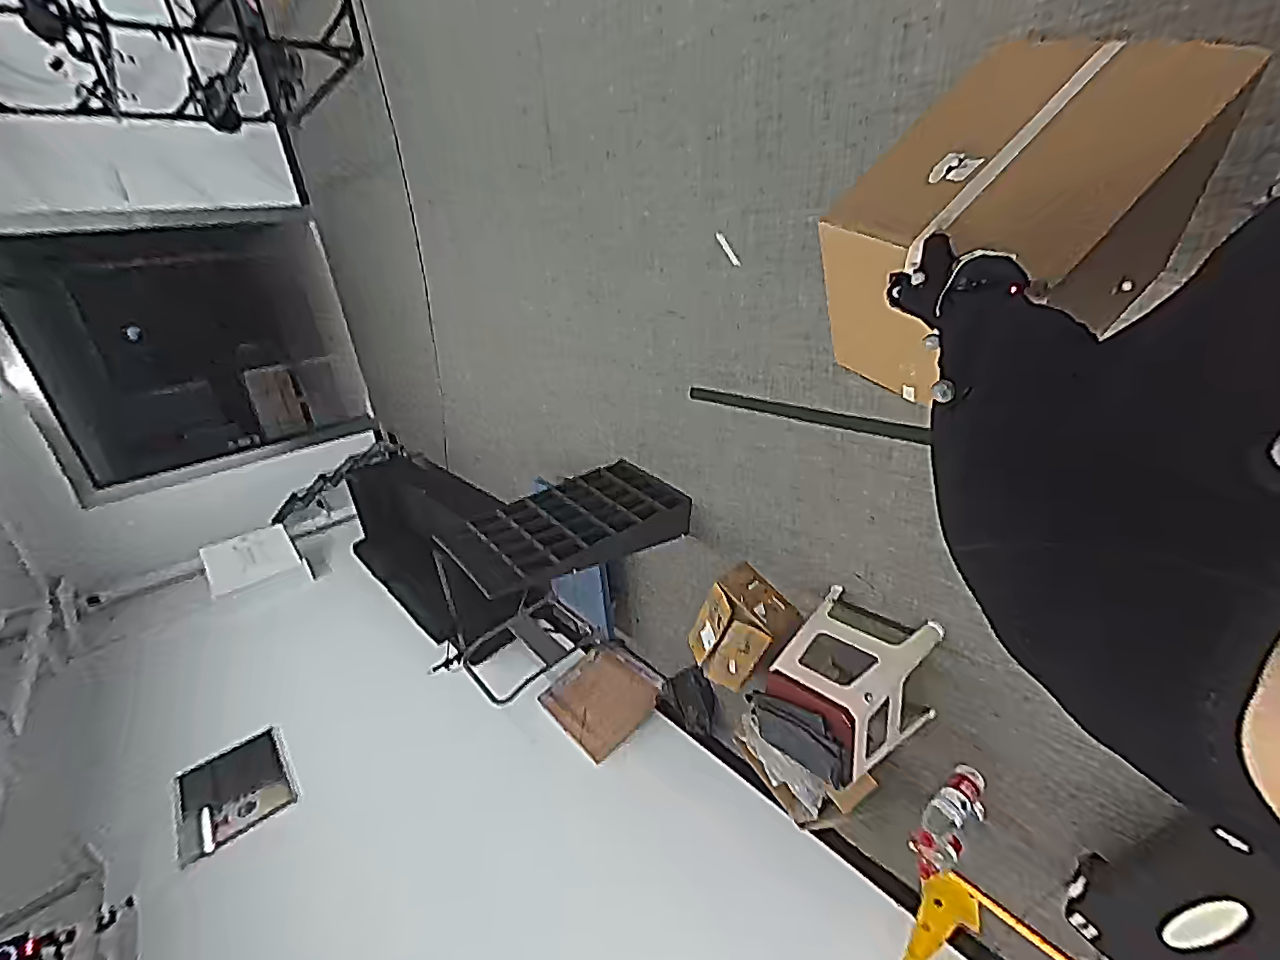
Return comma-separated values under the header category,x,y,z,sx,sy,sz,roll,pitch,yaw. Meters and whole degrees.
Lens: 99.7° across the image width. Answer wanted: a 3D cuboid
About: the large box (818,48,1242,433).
category,x,y,z,sx,sy,sz,roll,pitch,yaw
large box,0.538,-0.356,0.826,0.320,0.408,0.320,41,175,37
